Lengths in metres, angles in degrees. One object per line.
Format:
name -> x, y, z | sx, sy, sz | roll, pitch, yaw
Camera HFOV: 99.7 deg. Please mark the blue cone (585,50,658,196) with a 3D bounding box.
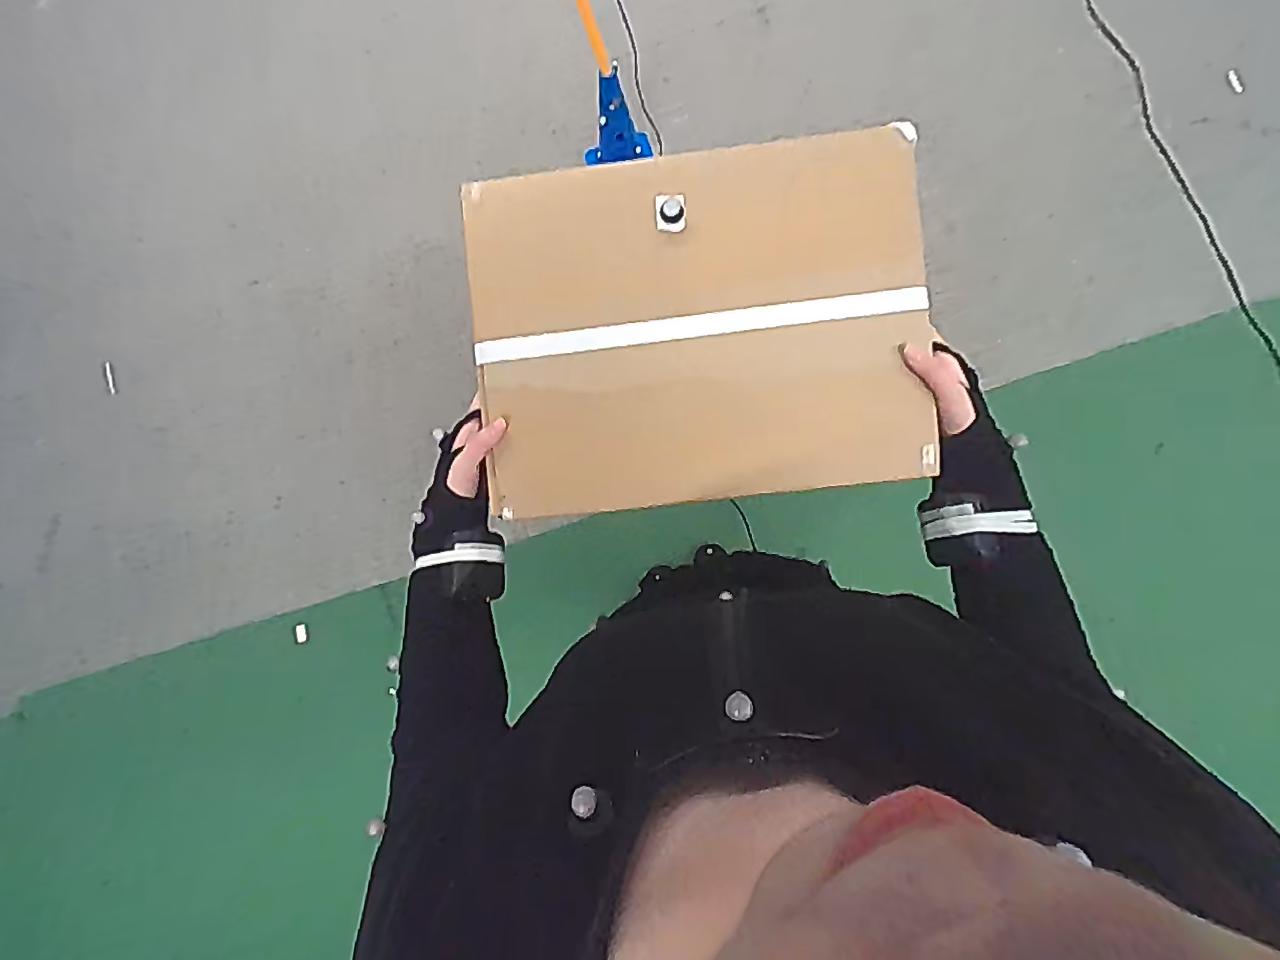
blue cone -> -0.070, -0.965, 1.446 | 0.193, 0.380, 0.192 | -21, 83, 4
